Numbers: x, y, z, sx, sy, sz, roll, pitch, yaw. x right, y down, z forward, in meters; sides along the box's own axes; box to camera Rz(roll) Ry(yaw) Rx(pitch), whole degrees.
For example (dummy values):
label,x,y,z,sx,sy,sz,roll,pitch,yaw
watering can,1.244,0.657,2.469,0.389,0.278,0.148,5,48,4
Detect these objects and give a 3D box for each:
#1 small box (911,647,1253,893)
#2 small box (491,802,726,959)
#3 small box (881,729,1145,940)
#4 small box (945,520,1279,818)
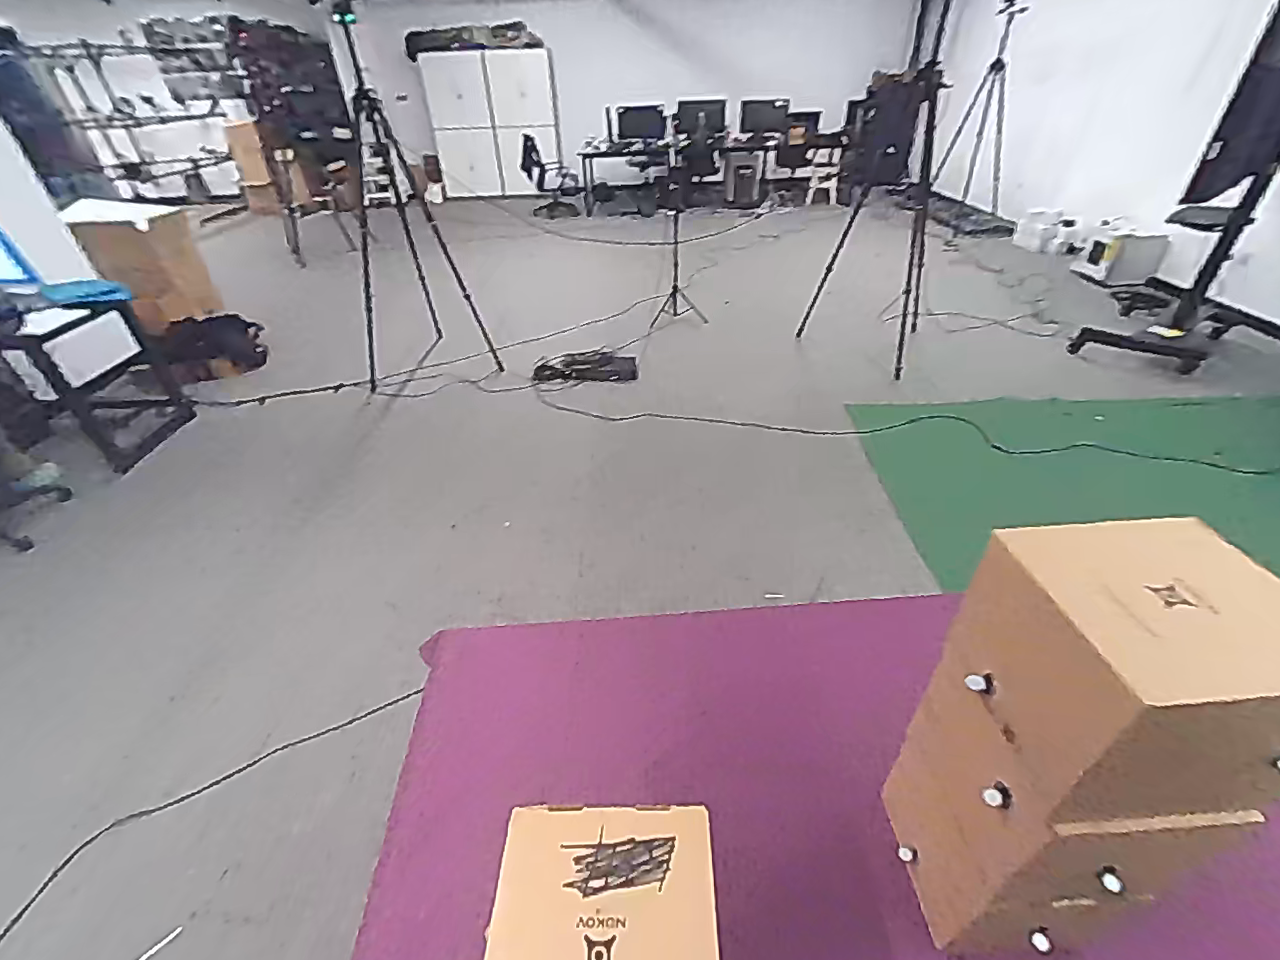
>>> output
label,x,y,z,sx,sy,sz,roll,pitch,yaw
small box,0.402,0.285,0.538,0.168,0.176,0.179,-3,37,-1
small box,-0.019,0.386,0.433,0.168,0.176,0.179,-2,39,3
small box,0.411,0.416,0.638,0.168,0.176,0.179,-2,38,-1
small box,0.393,0.152,0.443,0.179,0.176,0.168,-4,36,0
